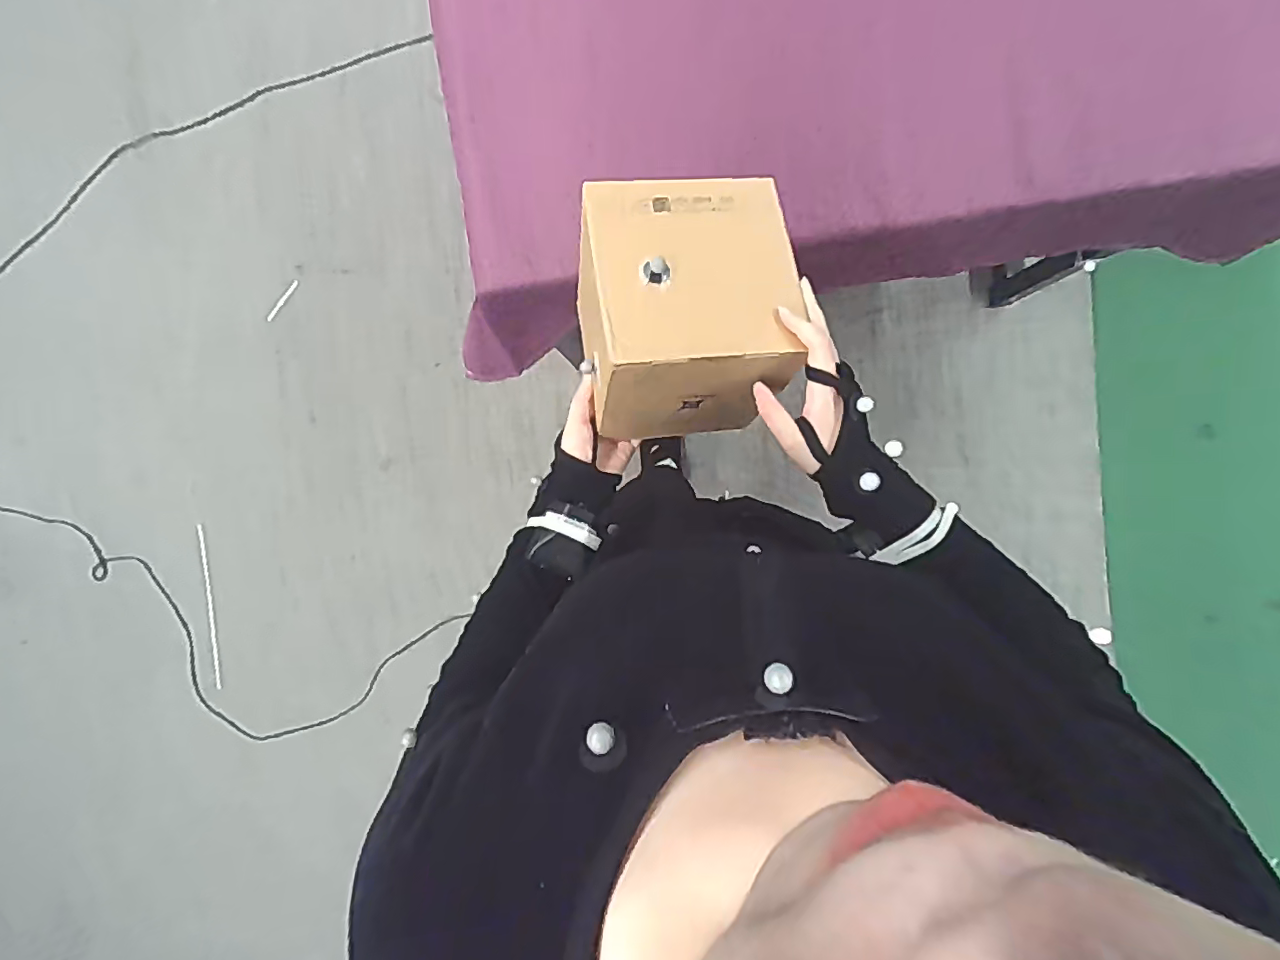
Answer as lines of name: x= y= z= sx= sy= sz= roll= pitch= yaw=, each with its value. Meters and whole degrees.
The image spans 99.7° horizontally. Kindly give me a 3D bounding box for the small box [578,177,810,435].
small box: x=0.033 y=-0.157 z=0.512 sx=0.168 sy=0.179 sz=0.176 roll=-5 pitch=75 yaw=-9
